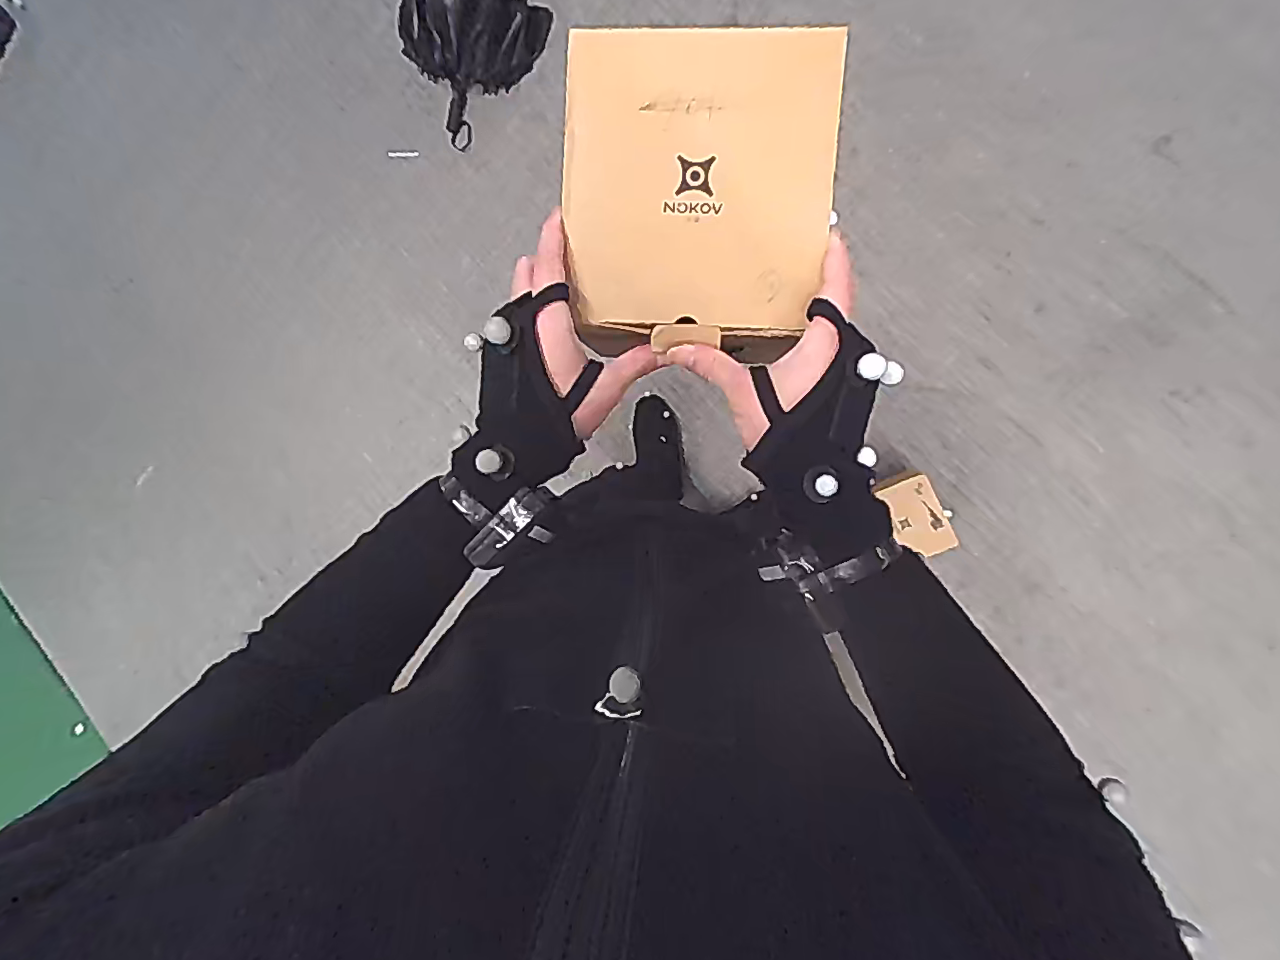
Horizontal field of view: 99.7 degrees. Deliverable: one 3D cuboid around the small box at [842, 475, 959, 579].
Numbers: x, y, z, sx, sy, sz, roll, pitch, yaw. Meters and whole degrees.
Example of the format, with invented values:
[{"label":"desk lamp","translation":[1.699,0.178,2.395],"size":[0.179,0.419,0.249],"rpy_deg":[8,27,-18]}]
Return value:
[{"label":"small box","translation":[0.562,0.098,1.198],"size":[0.179,0.176,0.168],"rpy_deg":[-26,86,15]}]
